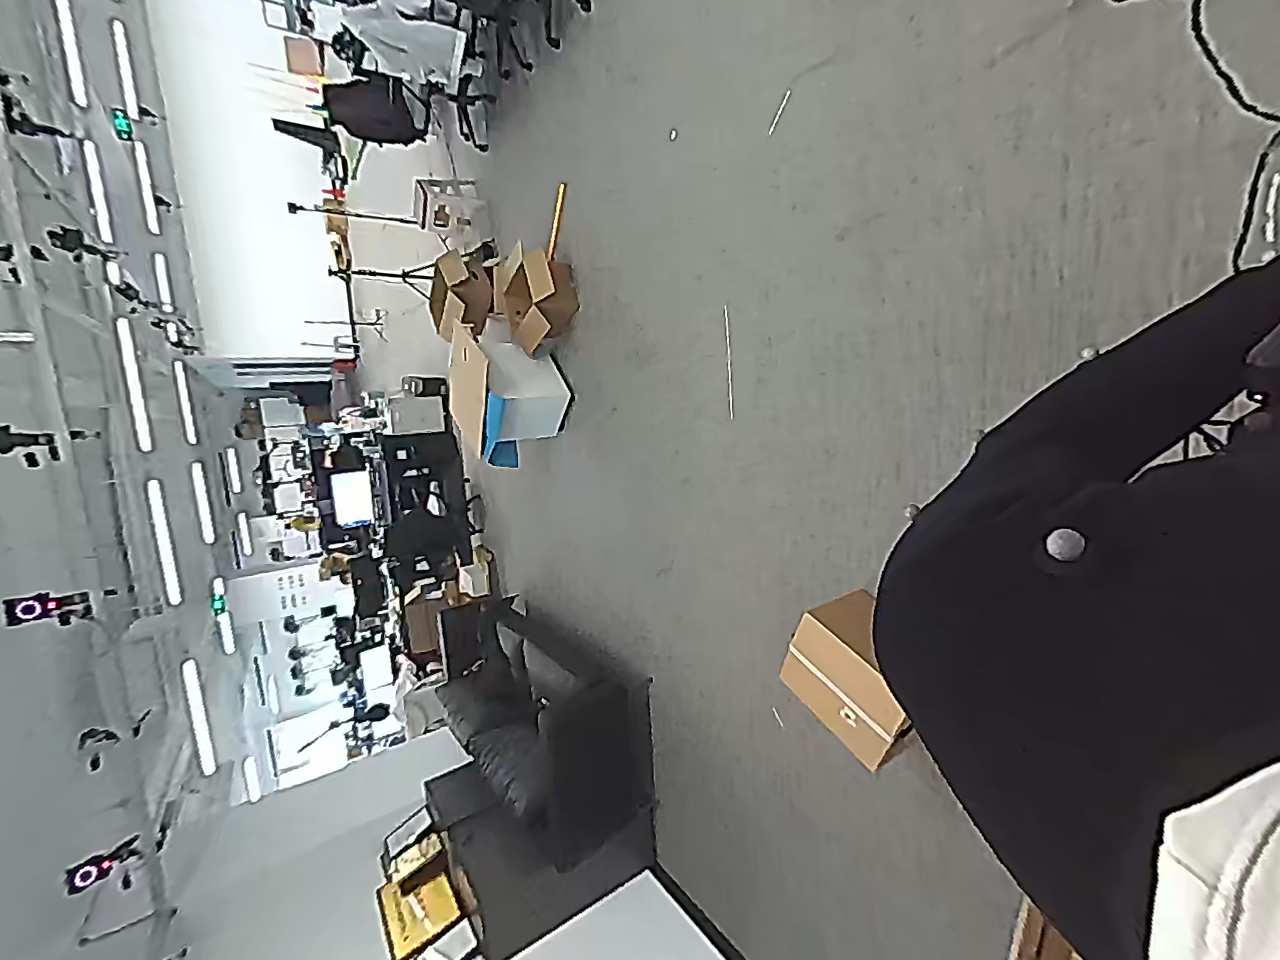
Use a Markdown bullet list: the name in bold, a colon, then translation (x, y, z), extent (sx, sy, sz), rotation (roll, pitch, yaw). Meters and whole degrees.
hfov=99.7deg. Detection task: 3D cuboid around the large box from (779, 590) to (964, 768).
- **large box**: translation (0.743, 0.626, 1.773), extent (0.408, 0.320, 0.320), rotation (40, 129, 43)
